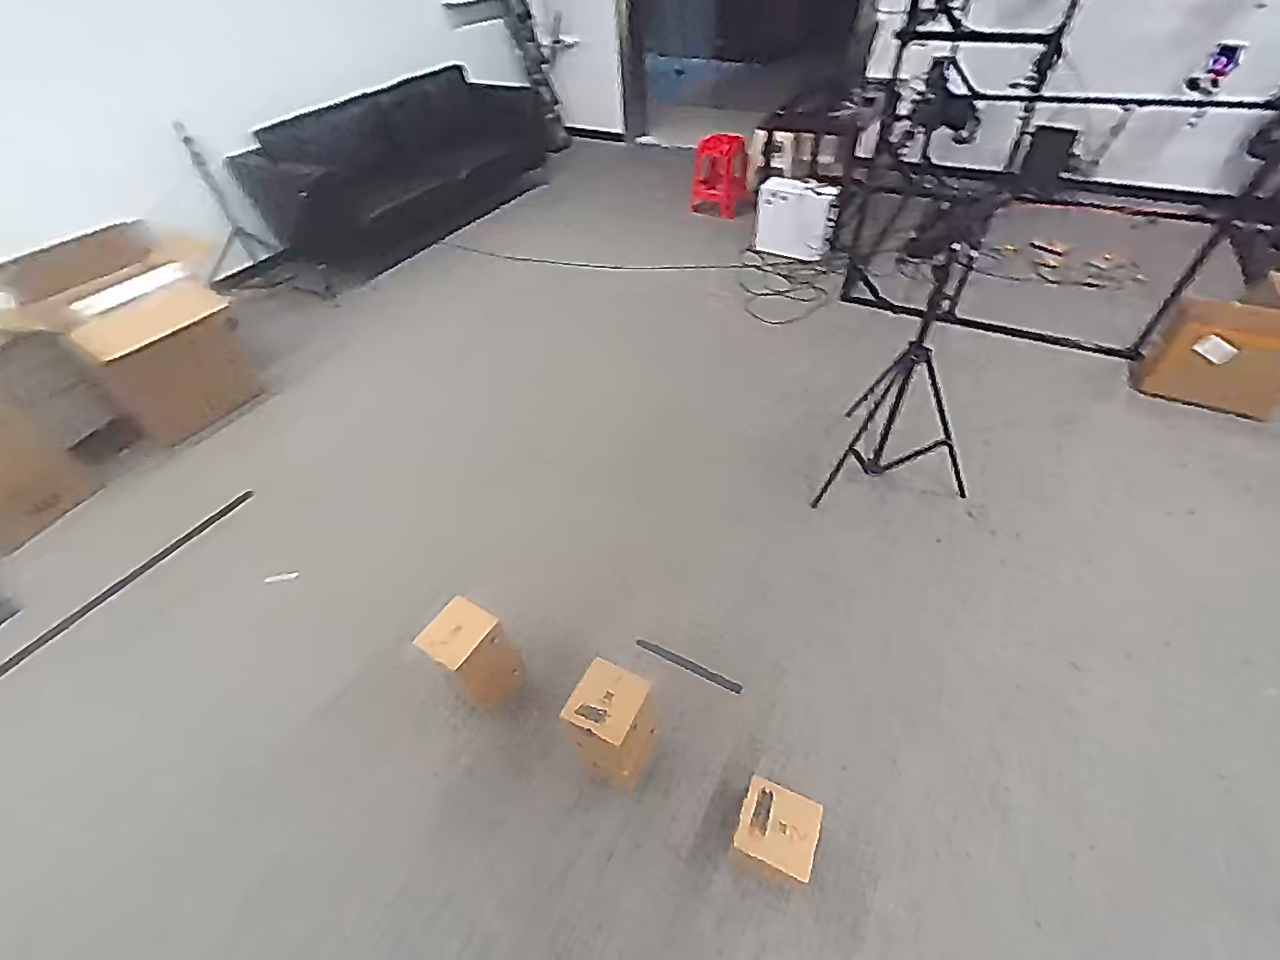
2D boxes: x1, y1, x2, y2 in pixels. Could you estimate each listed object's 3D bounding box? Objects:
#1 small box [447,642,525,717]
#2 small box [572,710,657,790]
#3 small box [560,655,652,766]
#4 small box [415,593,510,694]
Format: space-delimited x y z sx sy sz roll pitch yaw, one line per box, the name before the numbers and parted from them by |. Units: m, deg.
small box | -0.467 0.573 1.630 0.168 0.176 0.179 22 51 25
small box | -0.060 0.706 1.471 0.168 0.176 0.179 19 49 21
small box | -0.075 0.583 1.362 0.168 0.176 0.179 19 48 21
small box | -0.485 0.458 1.514 0.168 0.176 0.179 22 52 25
